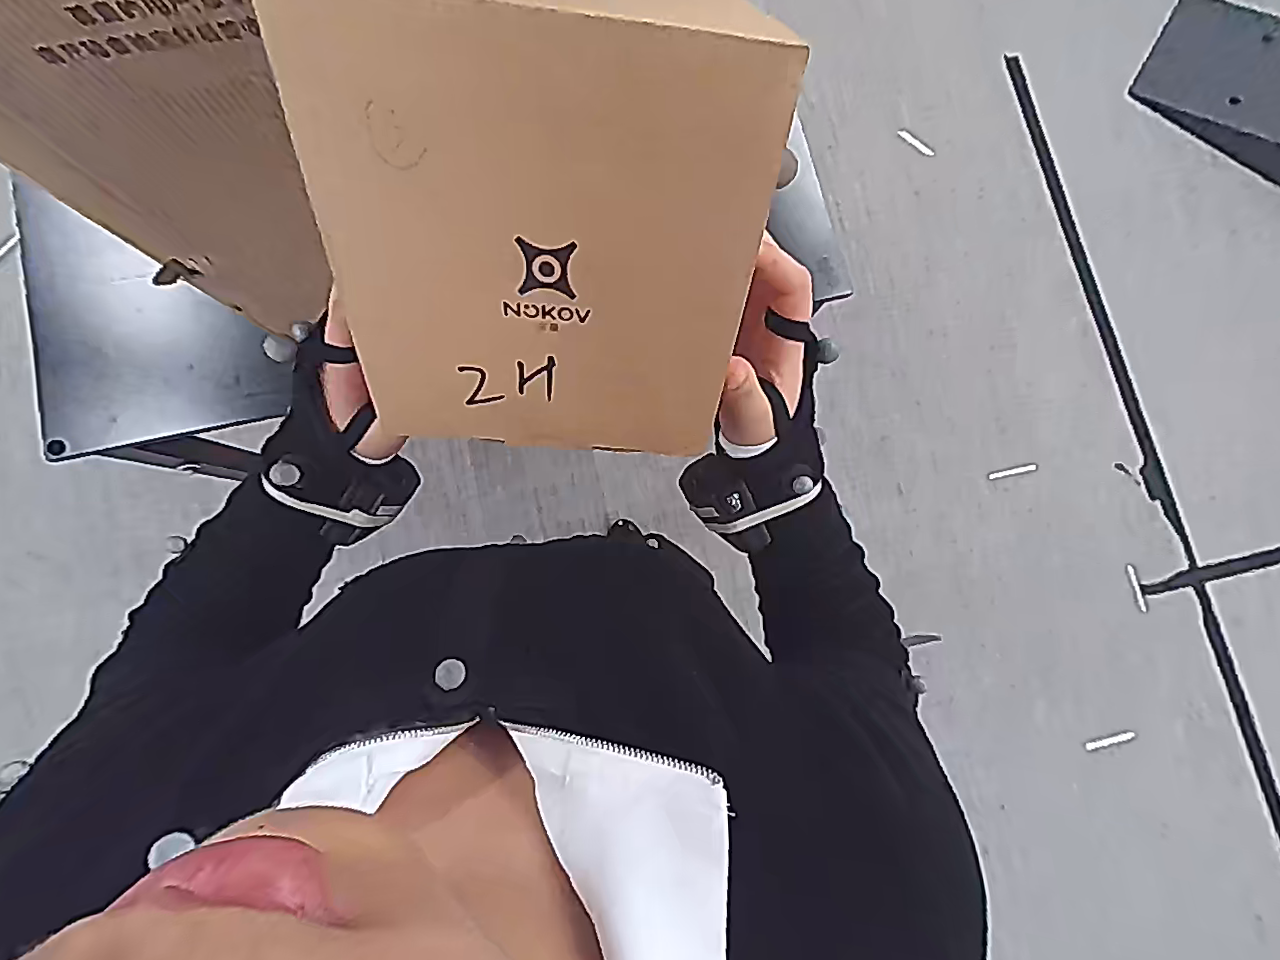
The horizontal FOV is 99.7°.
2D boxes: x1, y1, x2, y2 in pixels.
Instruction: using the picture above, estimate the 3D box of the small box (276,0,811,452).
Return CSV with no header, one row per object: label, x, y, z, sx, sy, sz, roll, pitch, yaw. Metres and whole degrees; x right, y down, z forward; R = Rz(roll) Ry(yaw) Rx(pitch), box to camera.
small box,-0.038,-0.139,0.274,0.168,0.179,0.176,5,44,-5
